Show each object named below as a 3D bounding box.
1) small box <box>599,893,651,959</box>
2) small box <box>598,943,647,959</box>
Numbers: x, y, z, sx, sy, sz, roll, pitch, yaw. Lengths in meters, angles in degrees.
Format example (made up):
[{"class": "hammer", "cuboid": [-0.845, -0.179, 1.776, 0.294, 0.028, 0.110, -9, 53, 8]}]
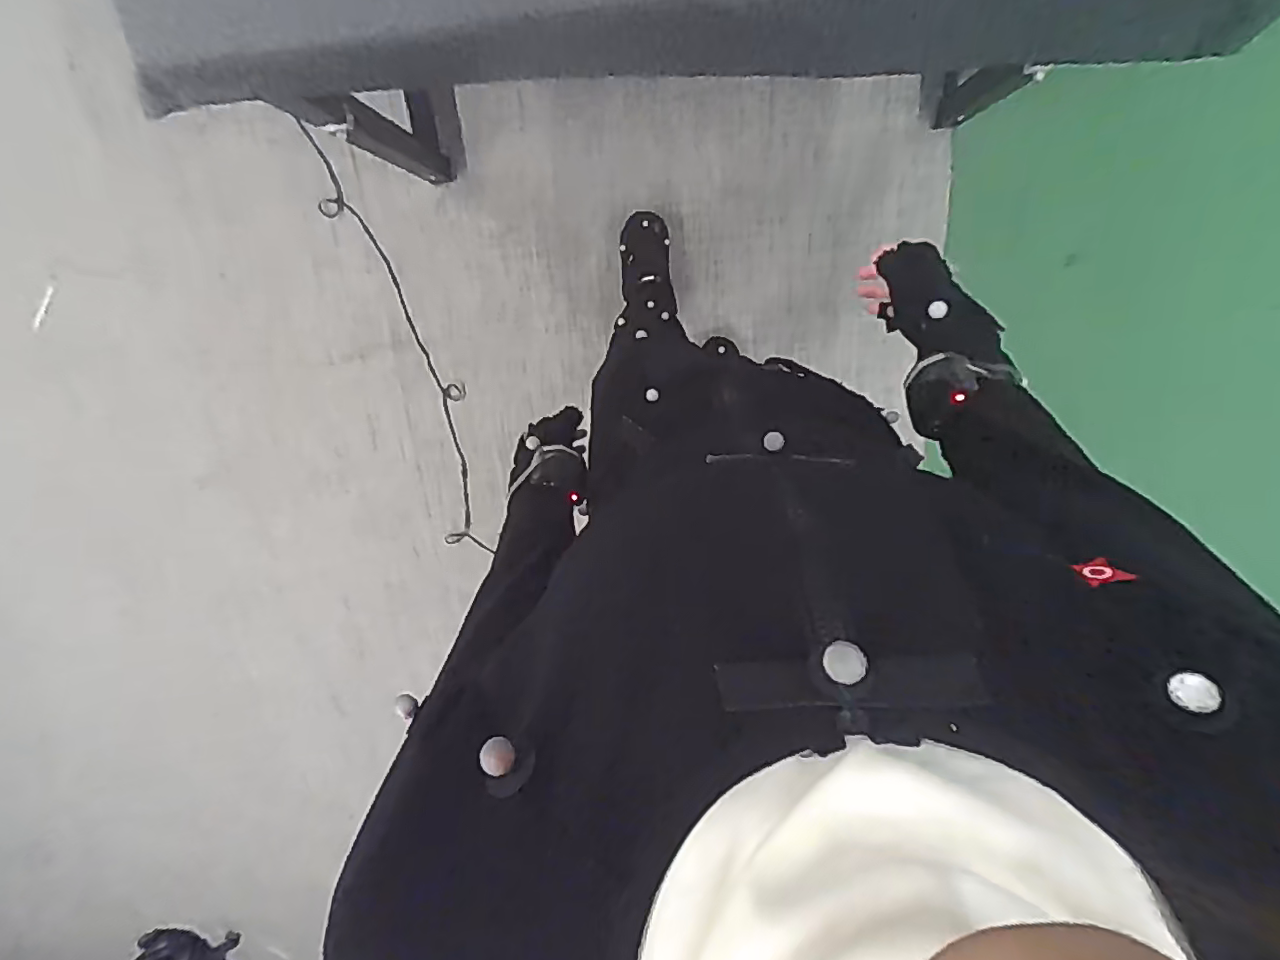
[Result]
[{"class": "small box", "cuboid": [-0.050, 1.640, 1.960, 0.179, 0.176, 0.168, -1, 109, 4]}, {"class": "small box", "cuboid": [-0.057, 1.701, 1.810, 0.168, 0.176, 0.179, -3, 107, 3]}]
